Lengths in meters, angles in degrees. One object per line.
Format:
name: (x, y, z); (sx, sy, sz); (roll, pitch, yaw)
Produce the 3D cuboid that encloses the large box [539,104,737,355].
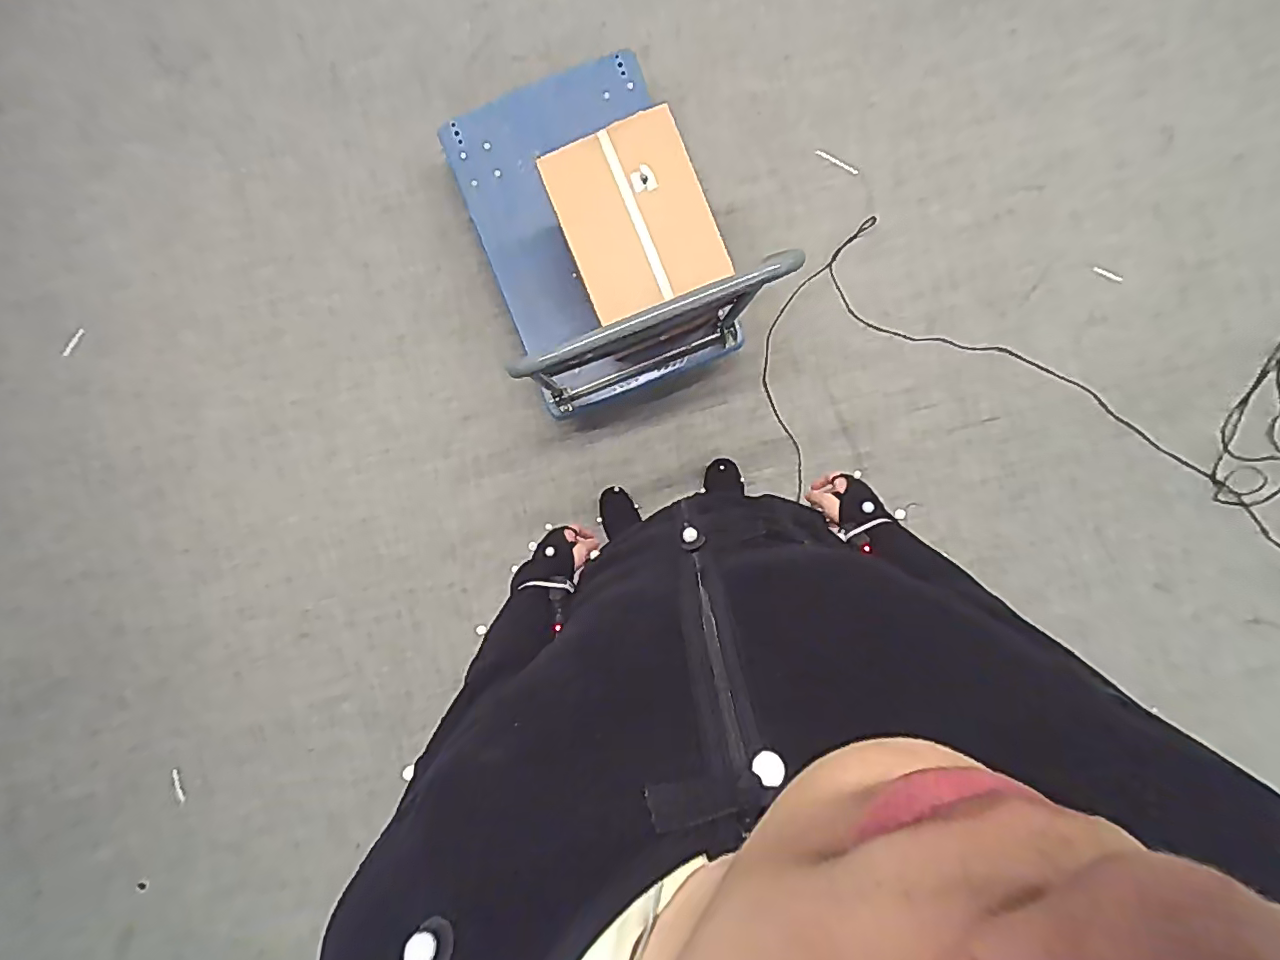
large box: (0.001, -0.575, 1.320); (0.320, 0.320, 0.408); (-22, 90, 1)
